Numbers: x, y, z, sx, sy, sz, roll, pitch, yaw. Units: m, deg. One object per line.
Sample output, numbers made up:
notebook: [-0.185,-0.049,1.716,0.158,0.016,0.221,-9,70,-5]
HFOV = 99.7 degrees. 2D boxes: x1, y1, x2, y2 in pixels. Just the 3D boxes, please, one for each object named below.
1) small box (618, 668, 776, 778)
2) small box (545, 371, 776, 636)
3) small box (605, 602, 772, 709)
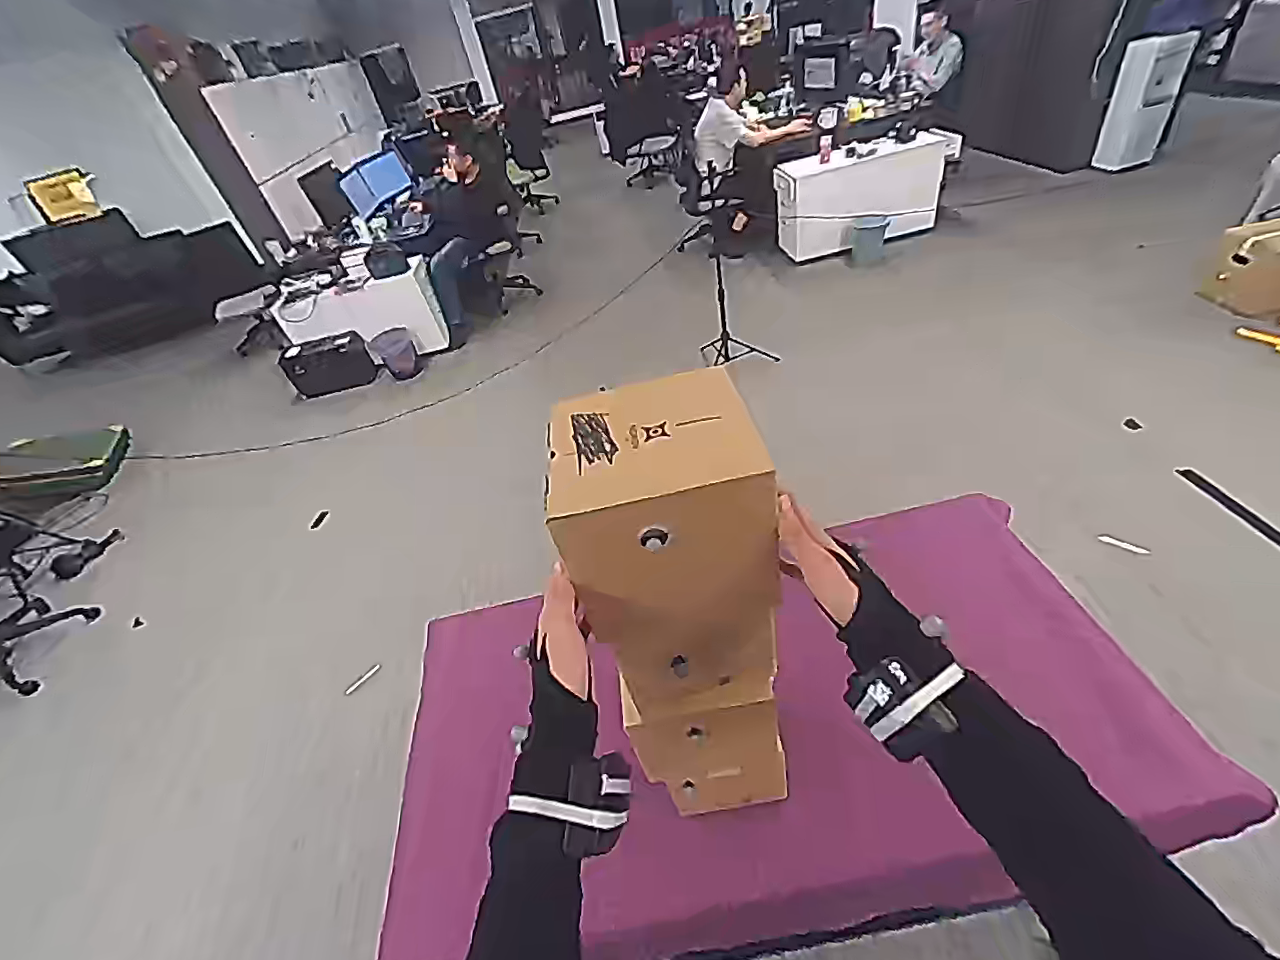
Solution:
small box: [0.073,0.271,0.719,0.179,0.176,0.168,-12,40,3]
small box: [0.021,0.024,0.511,0.179,0.176,0.168,-12,39,2]
small box: [0.044,0.139,0.628,0.168,0.176,0.179,-18,40,-3]
